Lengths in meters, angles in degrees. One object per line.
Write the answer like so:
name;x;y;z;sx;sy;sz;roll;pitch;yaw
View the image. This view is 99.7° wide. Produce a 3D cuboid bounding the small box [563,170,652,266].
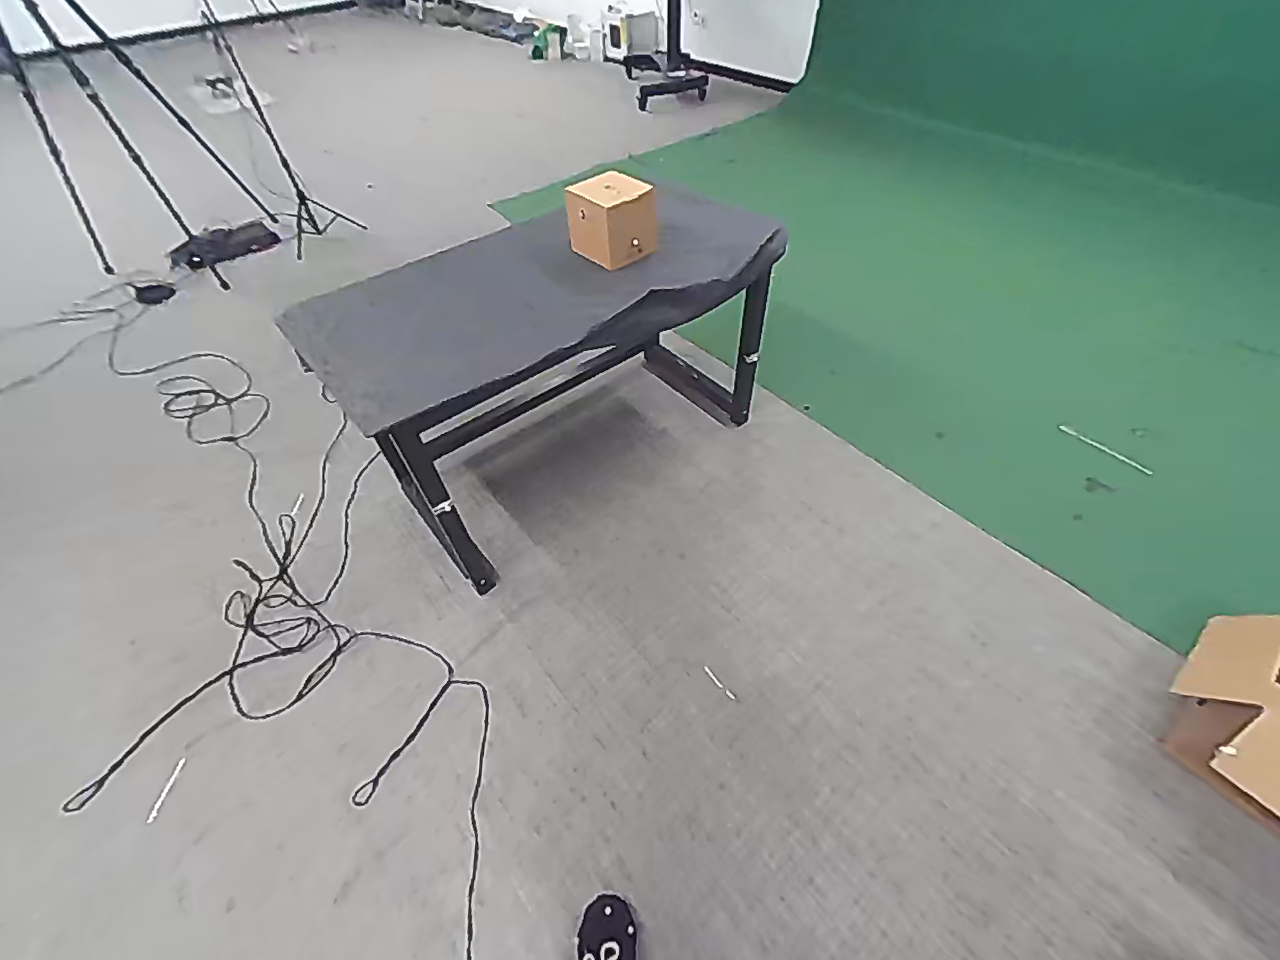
small box;-0.083;-0.702;1.455;0.168;0.176;0.179;-36;57;-24
